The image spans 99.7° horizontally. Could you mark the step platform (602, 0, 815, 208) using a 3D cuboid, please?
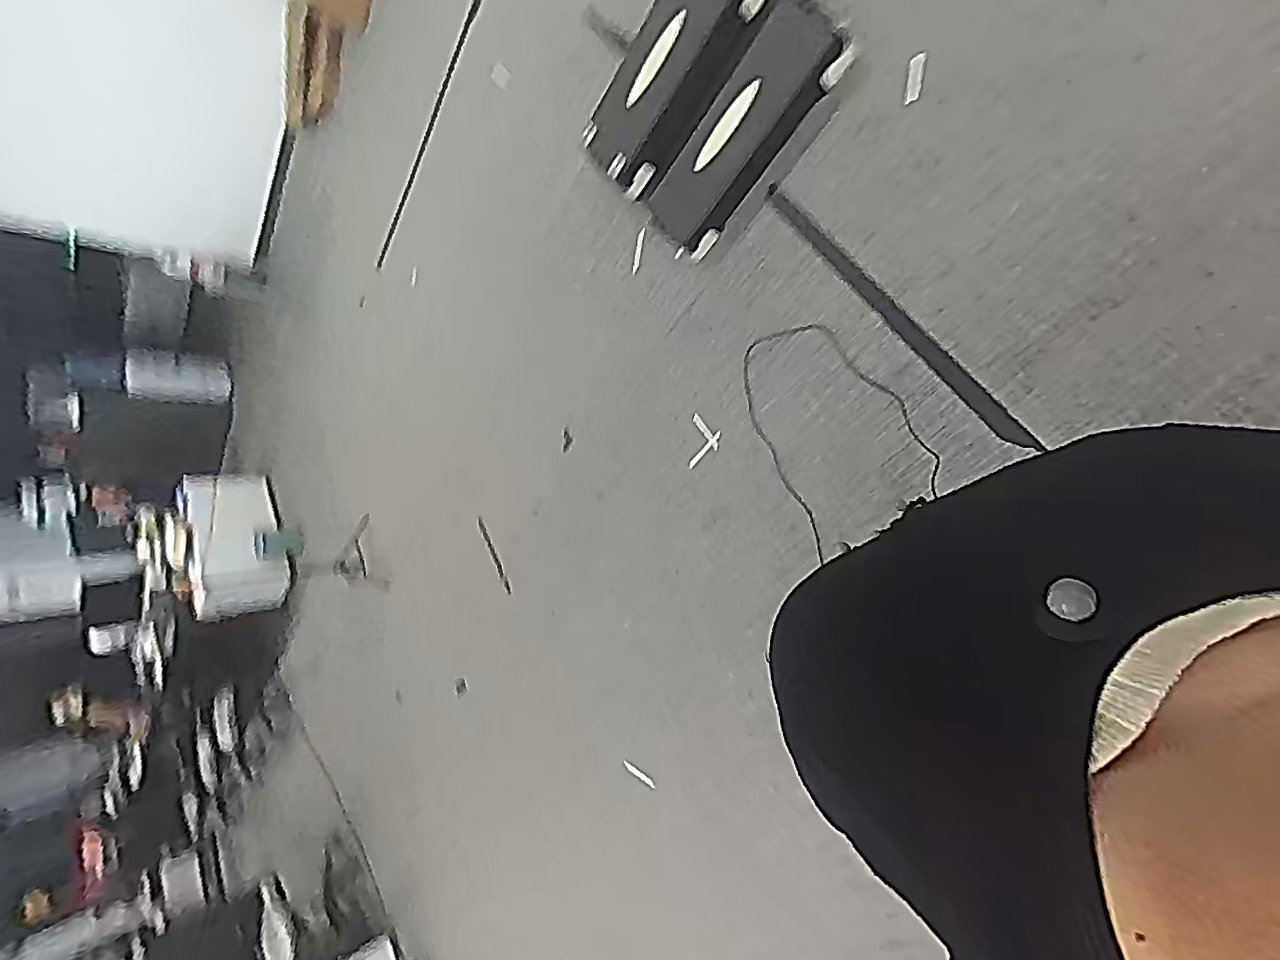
[{"bbox_3d":[0.173,-1.209,1.649,0.684,0.204,0.286,-41,64,33],"label":"step platform"}]
